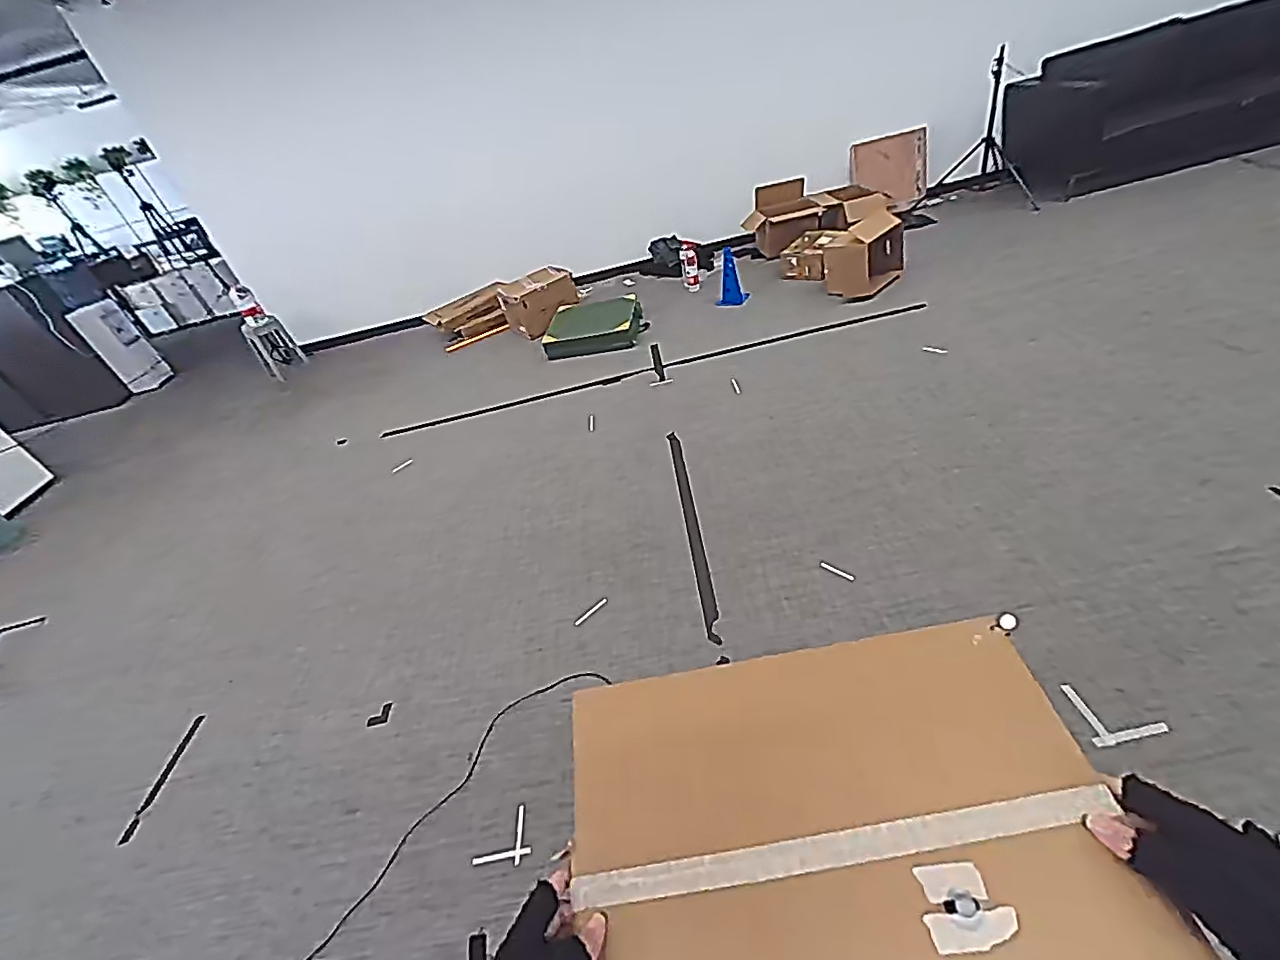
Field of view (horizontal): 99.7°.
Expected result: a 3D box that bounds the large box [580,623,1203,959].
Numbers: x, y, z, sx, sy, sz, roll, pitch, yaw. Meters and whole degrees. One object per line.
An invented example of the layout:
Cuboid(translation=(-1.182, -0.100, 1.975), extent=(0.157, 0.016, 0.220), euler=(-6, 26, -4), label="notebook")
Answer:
Cuboid(translation=(0.177, 0.386, 0.519), extent=(0.408, 0.320, 0.320), euler=(-11, 46, 1), label="large box")
